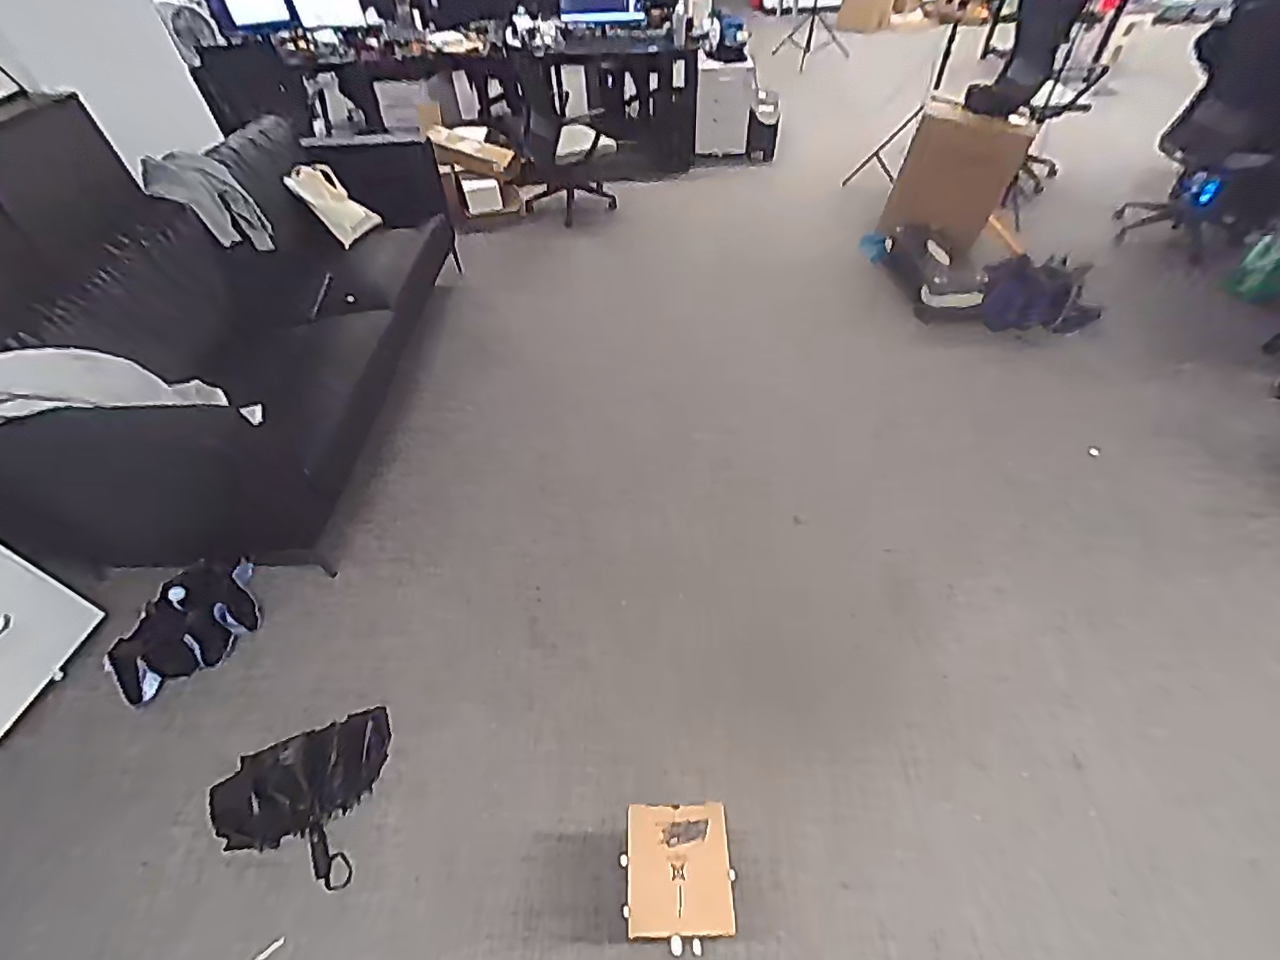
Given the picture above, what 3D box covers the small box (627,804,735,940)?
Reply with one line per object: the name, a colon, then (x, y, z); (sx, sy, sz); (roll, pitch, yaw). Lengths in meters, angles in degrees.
small box: (0.063, 0.669, 0.922); (0.168, 0.176, 0.179); (-2, 51, 1)
